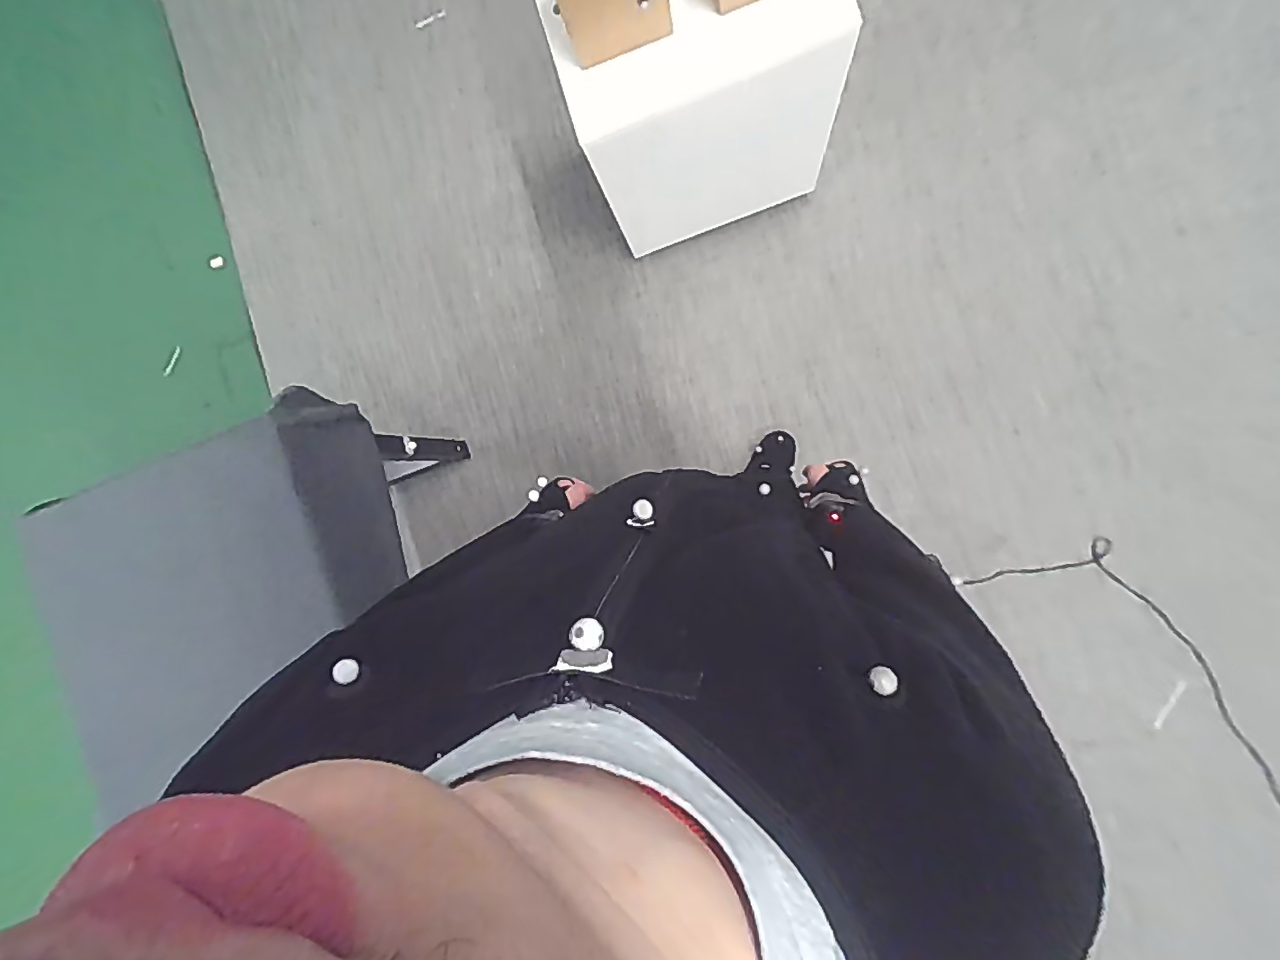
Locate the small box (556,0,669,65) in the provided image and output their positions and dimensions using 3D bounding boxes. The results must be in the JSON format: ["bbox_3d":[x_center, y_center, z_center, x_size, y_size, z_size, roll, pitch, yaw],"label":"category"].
[{"bbox_3d":[-0.057,-0.829,0.867,0.179,0.176,0.168,-16,88,10],"label":"small box"}]
